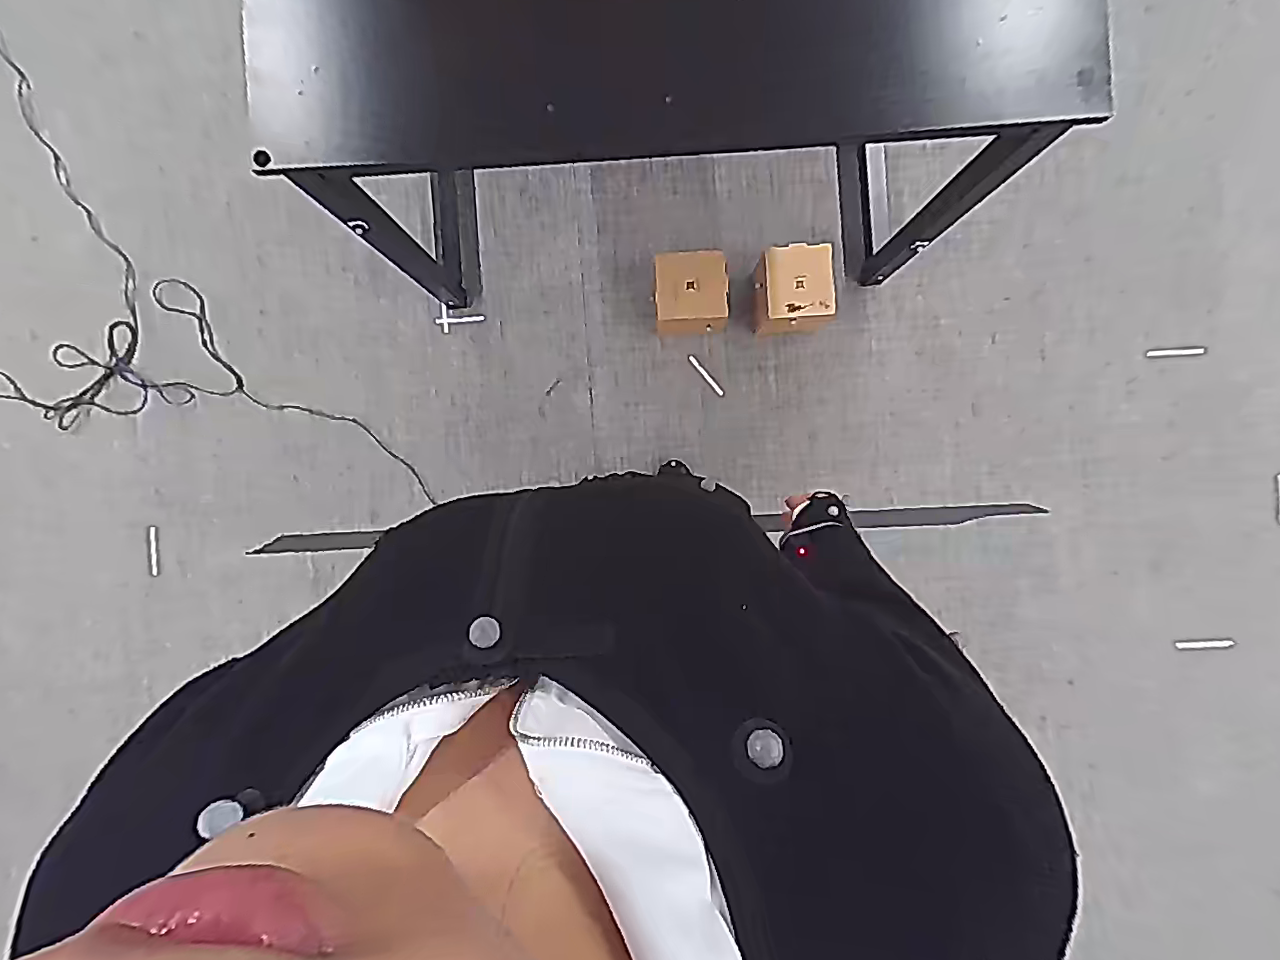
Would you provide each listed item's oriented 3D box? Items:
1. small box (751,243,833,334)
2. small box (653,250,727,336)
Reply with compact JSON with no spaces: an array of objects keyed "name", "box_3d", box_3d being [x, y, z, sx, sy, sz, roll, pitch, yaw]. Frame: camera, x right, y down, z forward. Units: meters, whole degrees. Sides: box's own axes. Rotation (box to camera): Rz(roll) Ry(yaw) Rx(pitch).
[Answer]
[{"name":"small box","box_3d":[0.388,-0.490,1.401,0.168,0.176,0.179,-4,91,2]},{"name":"small box","box_3d":[0.125,-0.481,1.408,0.179,0.176,0.168,-3,90,2]}]
